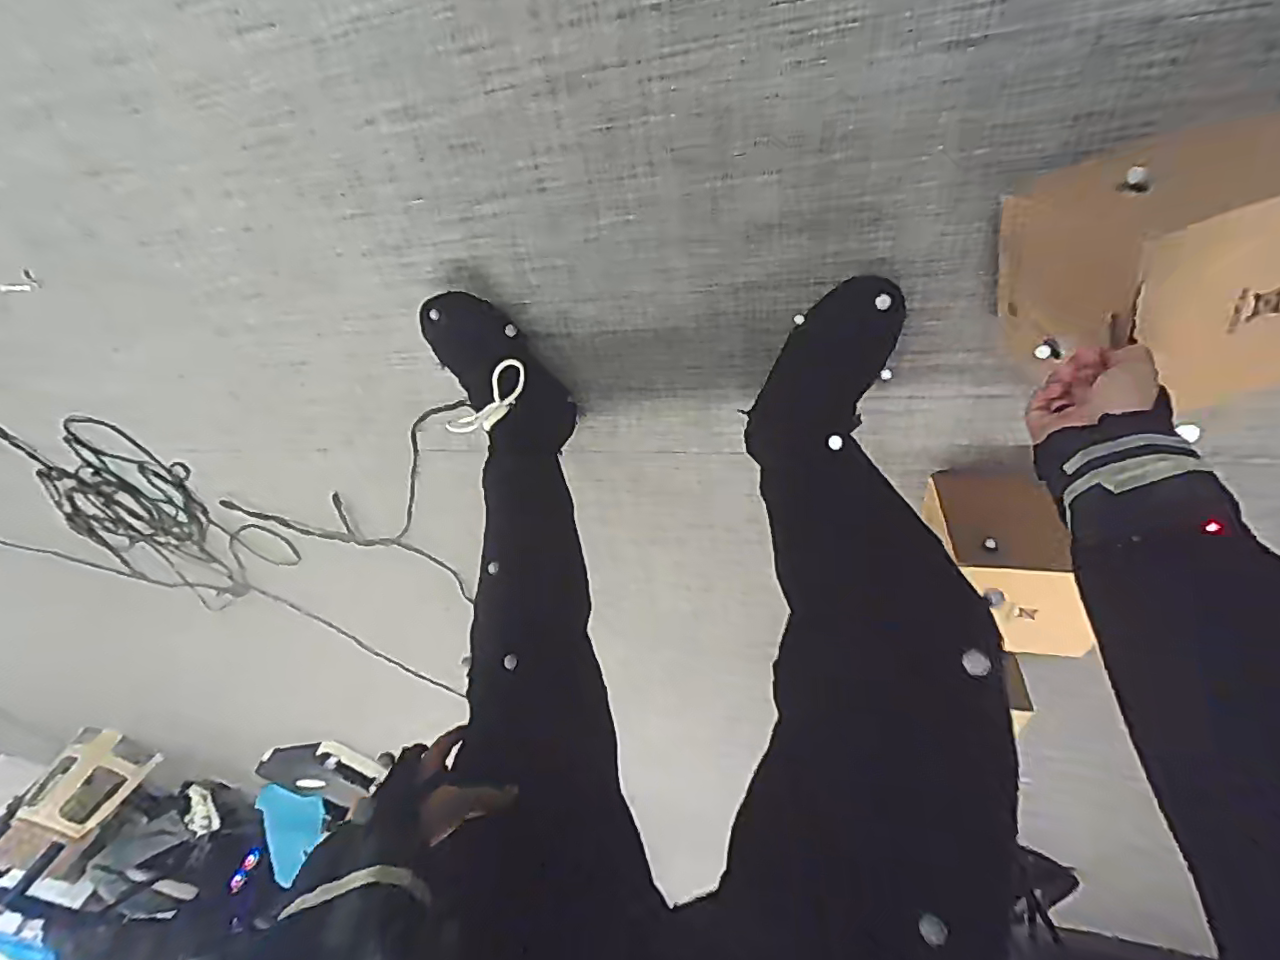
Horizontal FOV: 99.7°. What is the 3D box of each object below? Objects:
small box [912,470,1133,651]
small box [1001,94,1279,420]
[{"bbox_3d":[0.475,0.100,0.709,0.179,0.176,0.168,2,131,16],"label":"small box"},{"bbox_3d":[0.426,-0.182,0.436,0.179,0.176,0.168,-21,126,9],"label":"small box"}]
